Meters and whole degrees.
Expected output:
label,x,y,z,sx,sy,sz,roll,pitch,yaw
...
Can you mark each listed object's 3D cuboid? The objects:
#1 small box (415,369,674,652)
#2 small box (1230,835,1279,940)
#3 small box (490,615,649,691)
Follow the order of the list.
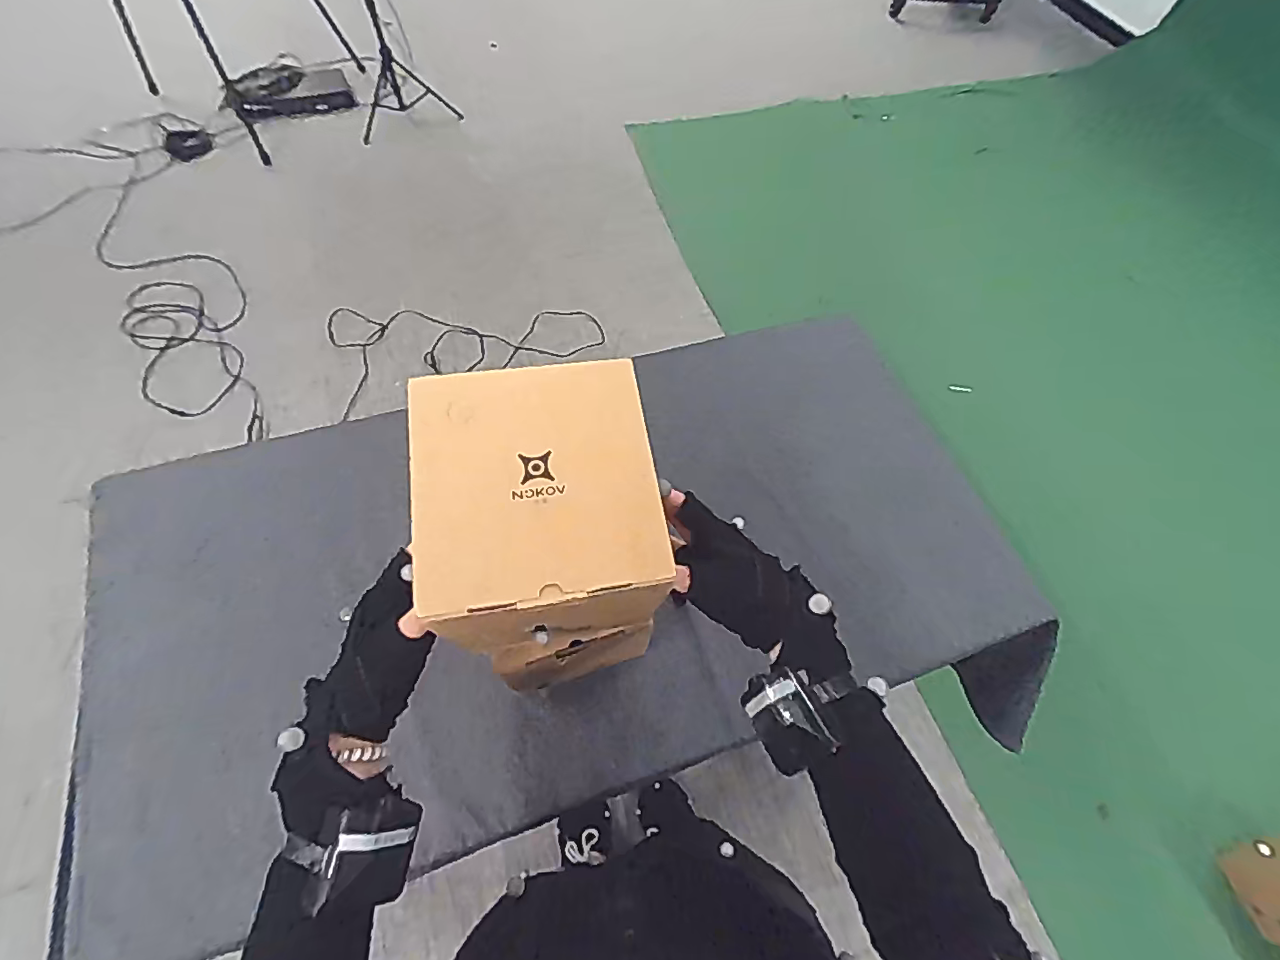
label,x,y,z,sx,sy,sz,roll,pitch,yaw
small box,-0.081,0.033,0.448,0.168,0.176,0.179,-7,68,-10
small box,1.443,0.880,1.154,0.179,0.176,0.168,-11,63,-9
small box,-0.095,0.141,0.651,0.168,0.176,0.179,-16,62,-12
